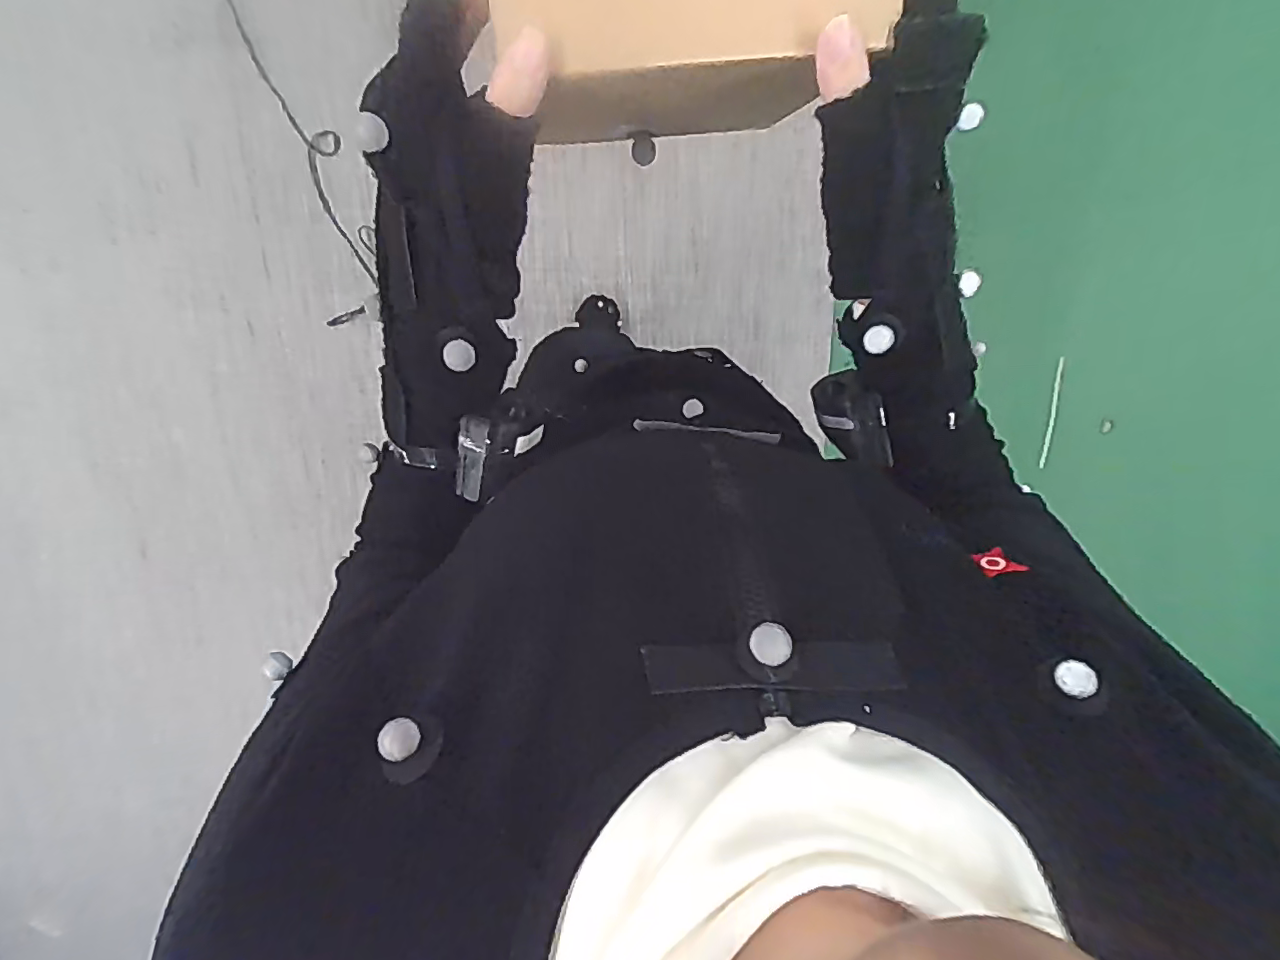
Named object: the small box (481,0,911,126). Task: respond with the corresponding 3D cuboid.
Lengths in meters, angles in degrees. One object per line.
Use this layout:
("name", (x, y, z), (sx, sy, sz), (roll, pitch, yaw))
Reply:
("small box", (0.009, -0.282, 0.241), (0.168, 0.176, 0.179), (-7, 115, -3))
